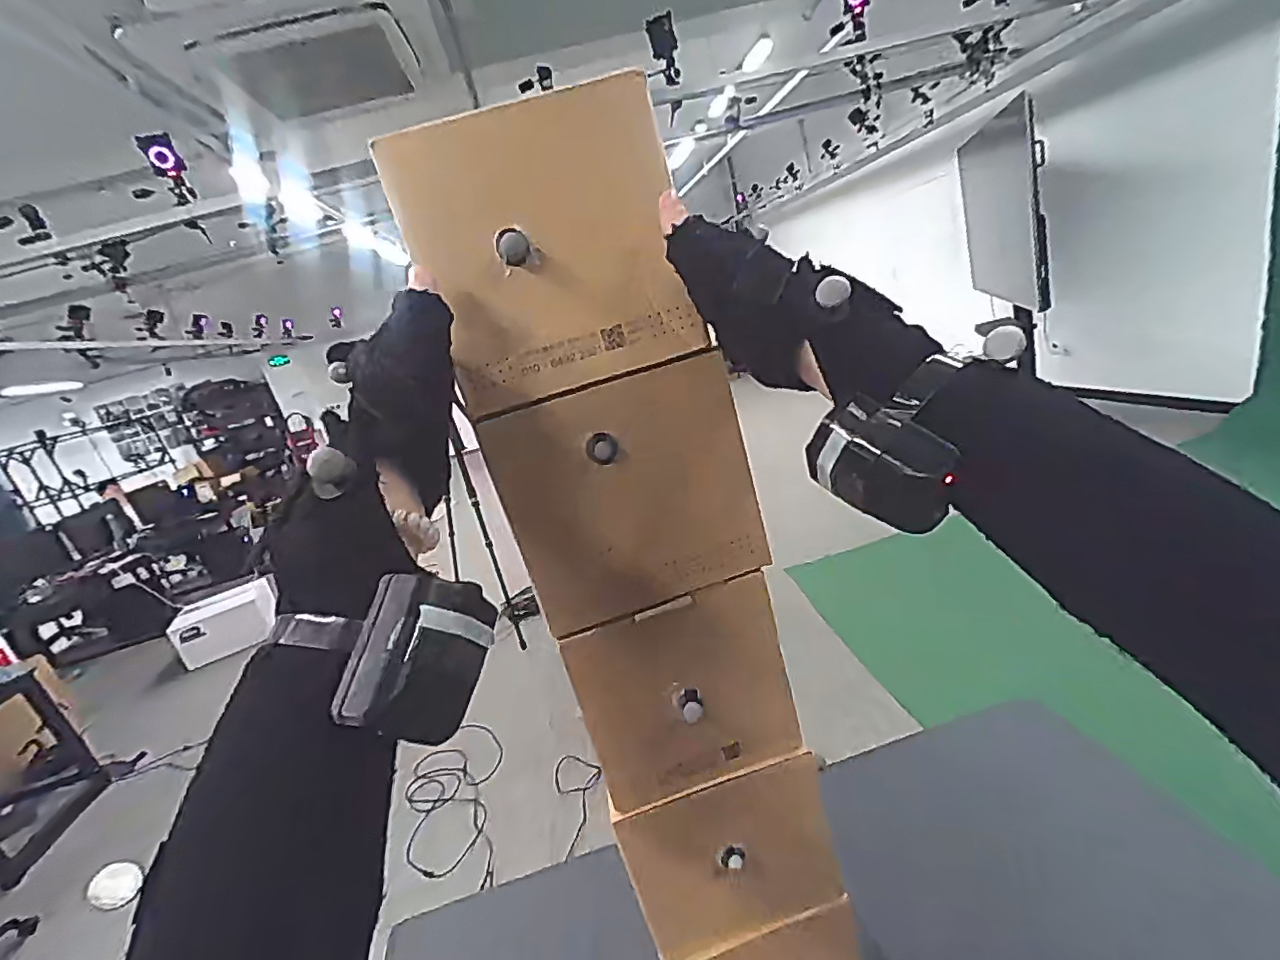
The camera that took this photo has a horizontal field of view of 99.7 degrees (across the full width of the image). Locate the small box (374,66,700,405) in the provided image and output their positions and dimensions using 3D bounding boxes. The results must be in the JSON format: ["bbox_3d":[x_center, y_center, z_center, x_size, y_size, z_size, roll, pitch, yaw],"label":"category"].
[{"bbox_3d":[-0.064,-0.161,0.414,0.168,0.176,0.179,-17,14,-3],"label":"small box"}]

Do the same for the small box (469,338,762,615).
[{"bbox_3d":[-0.019,-0.011,0.455,0.179,0.176,0.168,-17,15,-4],"label":"small box"}]

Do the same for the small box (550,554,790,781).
[{"bbox_3d":[0.020,0.143,0.502,0.168,0.176,0.179,-17,16,-5],"label":"small box"}]

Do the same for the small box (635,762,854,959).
[{"bbox_3d":[0.109,0.450,0.572,0.179,0.176,0.168,-17,16,-6],"label":"small box"}]
